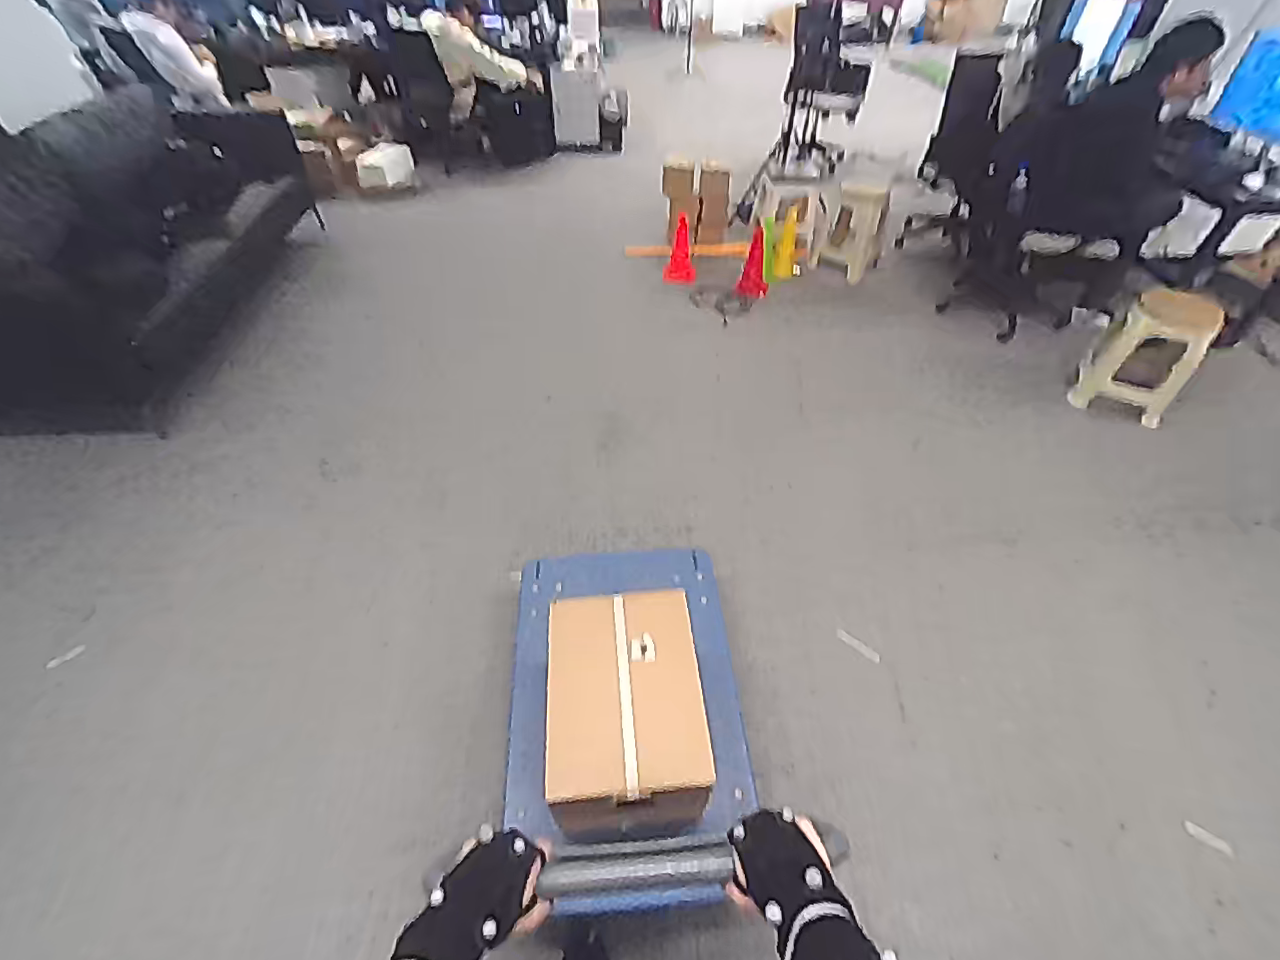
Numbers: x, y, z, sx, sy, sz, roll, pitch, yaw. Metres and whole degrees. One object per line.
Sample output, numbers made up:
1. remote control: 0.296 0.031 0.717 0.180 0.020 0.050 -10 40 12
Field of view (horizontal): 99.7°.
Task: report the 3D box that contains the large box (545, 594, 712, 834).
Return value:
1. large box: -0.035 0.523 1.224 0.320 0.320 0.408 -4 47 -4
